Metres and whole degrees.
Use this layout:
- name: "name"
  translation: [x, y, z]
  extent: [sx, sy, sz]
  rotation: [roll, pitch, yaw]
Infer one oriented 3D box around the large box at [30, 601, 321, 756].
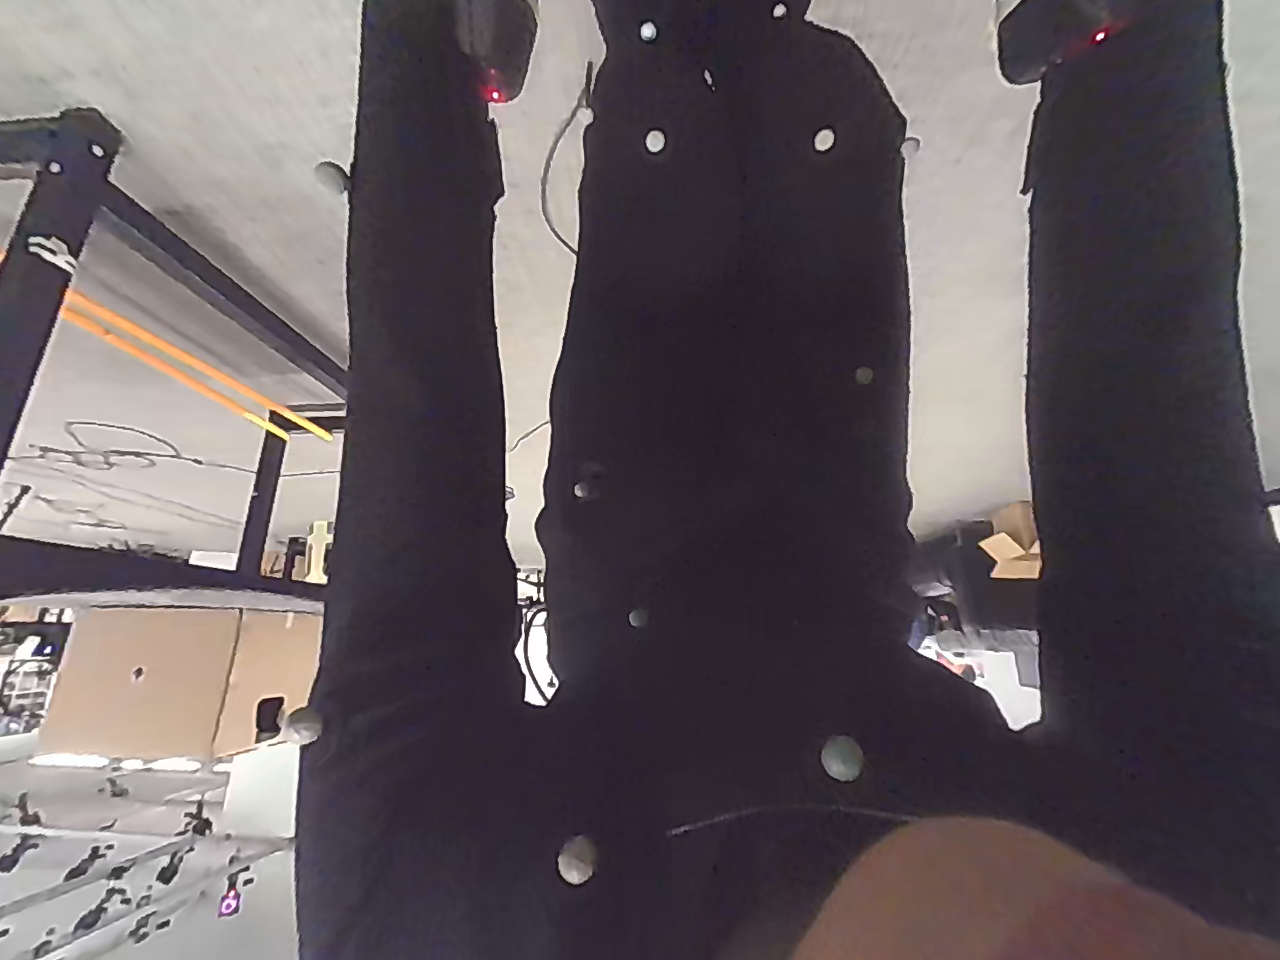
- name: "large box"
  translation: [-1.068, 0.462, 1.293]
  extent: [0.408, 0.320, 0.320]
  rotation: [-2, 163, 5]
